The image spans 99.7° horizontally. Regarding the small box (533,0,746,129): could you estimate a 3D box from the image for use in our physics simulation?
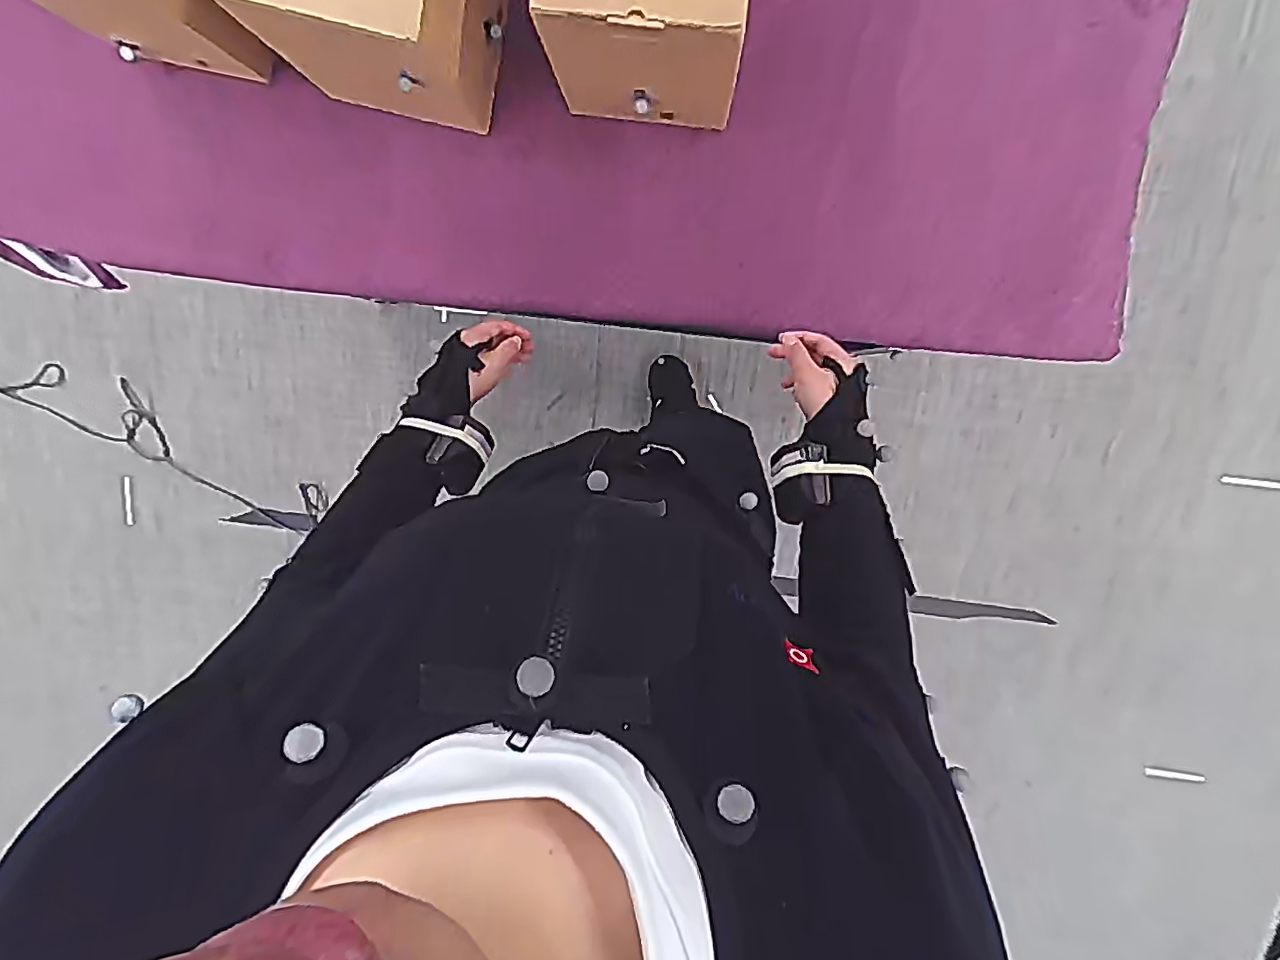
[{"bbox_3d":[0.011,-0.446,0.469,0.168,0.176,0.179,8,101,2],"label":"small box"}]

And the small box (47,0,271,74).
[{"bbox_3d":[-0.463,-0.510,0.484,0.168,0.176,0.179,12,102,0],"label":"small box"}]
